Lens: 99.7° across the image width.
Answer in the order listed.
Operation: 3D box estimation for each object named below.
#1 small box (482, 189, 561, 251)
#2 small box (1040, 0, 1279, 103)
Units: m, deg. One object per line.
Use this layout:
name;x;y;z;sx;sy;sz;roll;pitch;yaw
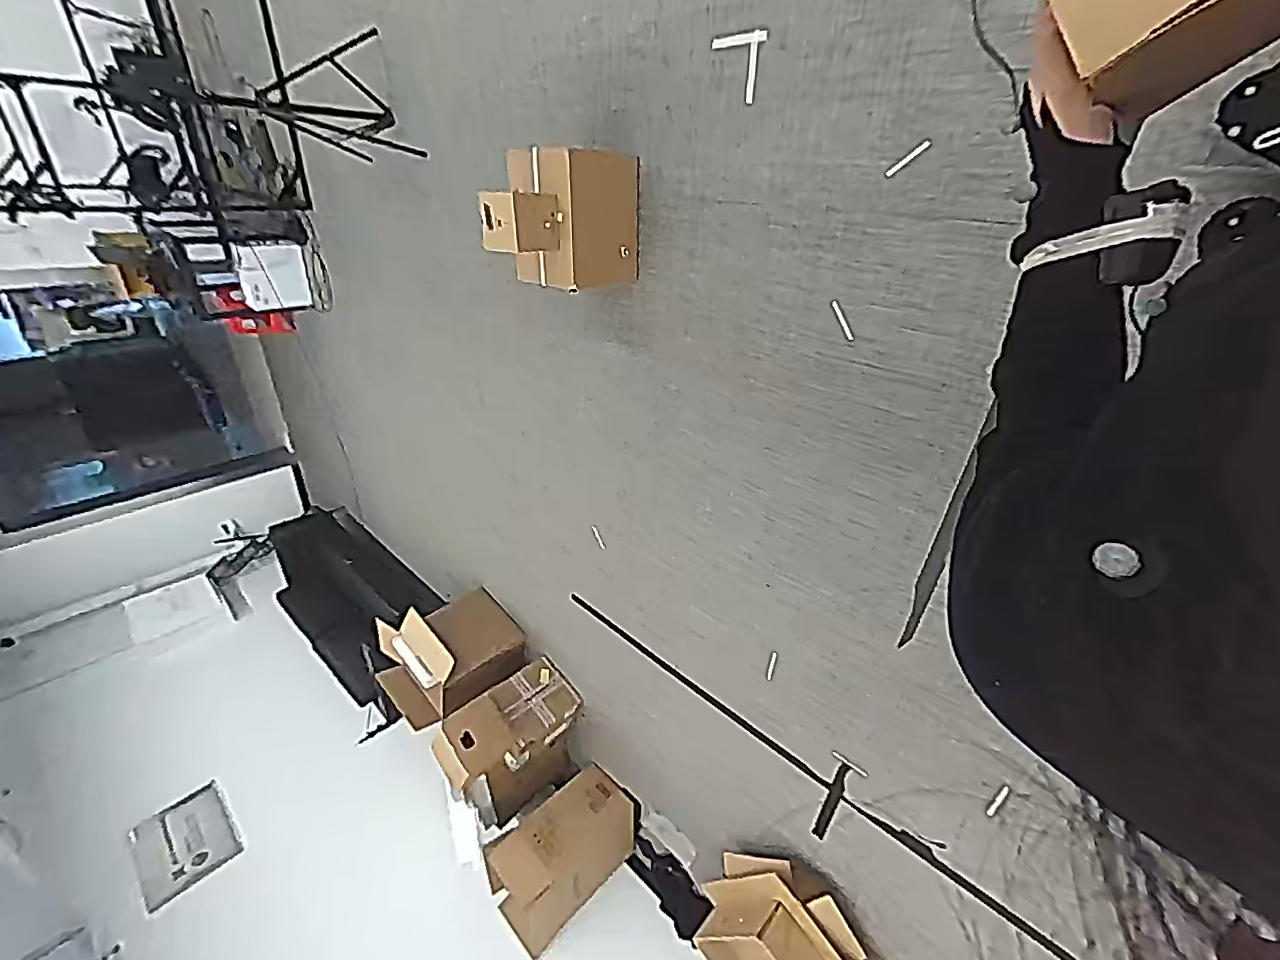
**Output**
small box;-0.368;-0.816;1.693;0.179;0.176;0.168;23;126;36
small box;0.333;-0.355;0.308;0.168;0.176;0.179;-24;85;51
